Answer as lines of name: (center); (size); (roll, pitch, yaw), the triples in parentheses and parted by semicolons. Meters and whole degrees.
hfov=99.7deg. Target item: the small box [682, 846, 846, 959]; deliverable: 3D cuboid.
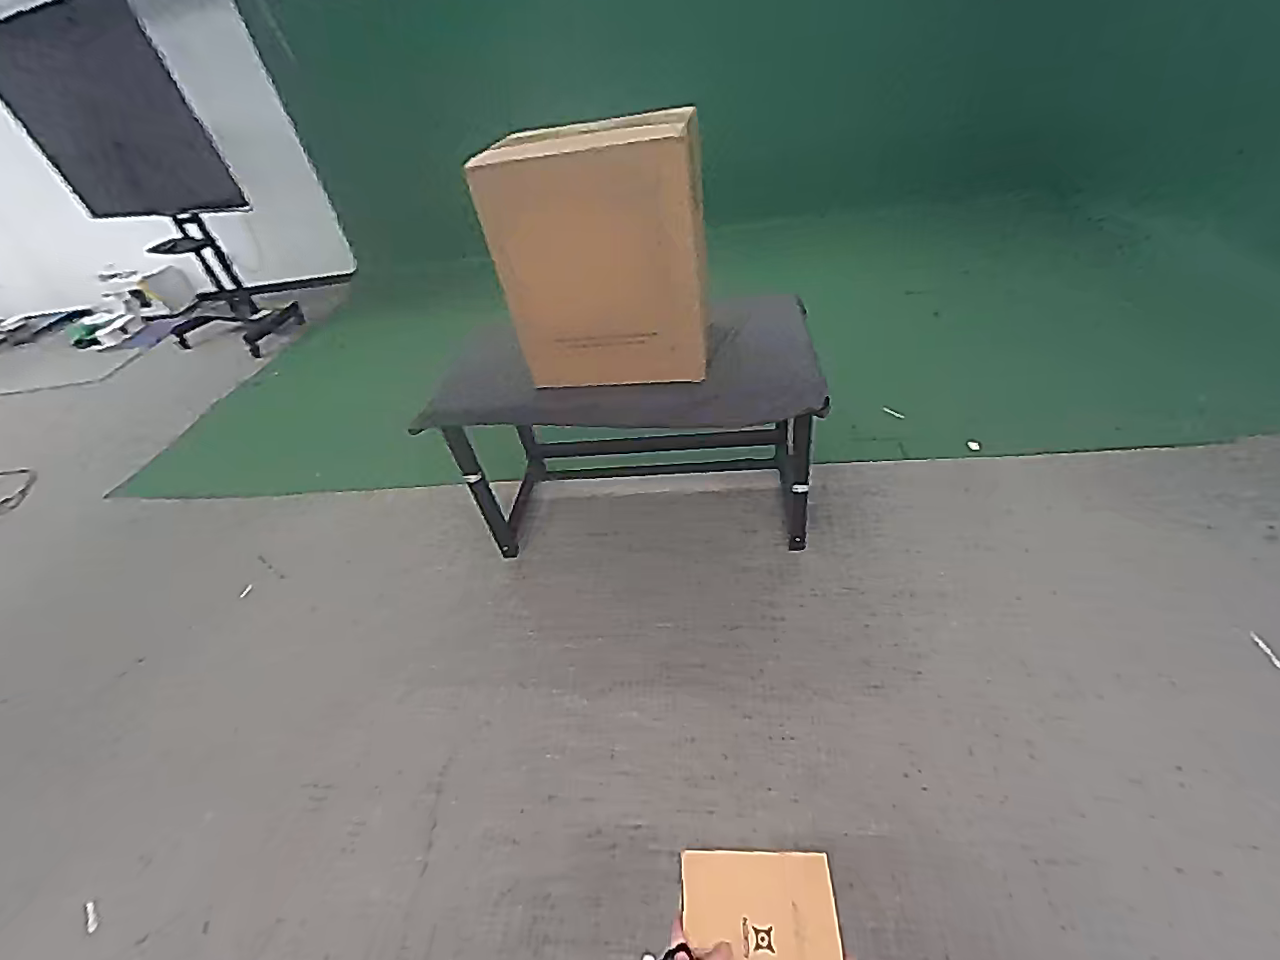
small box: (0.146, 0.561, 0.660); (0.179, 0.176, 0.168); (-4, 47, 5)
